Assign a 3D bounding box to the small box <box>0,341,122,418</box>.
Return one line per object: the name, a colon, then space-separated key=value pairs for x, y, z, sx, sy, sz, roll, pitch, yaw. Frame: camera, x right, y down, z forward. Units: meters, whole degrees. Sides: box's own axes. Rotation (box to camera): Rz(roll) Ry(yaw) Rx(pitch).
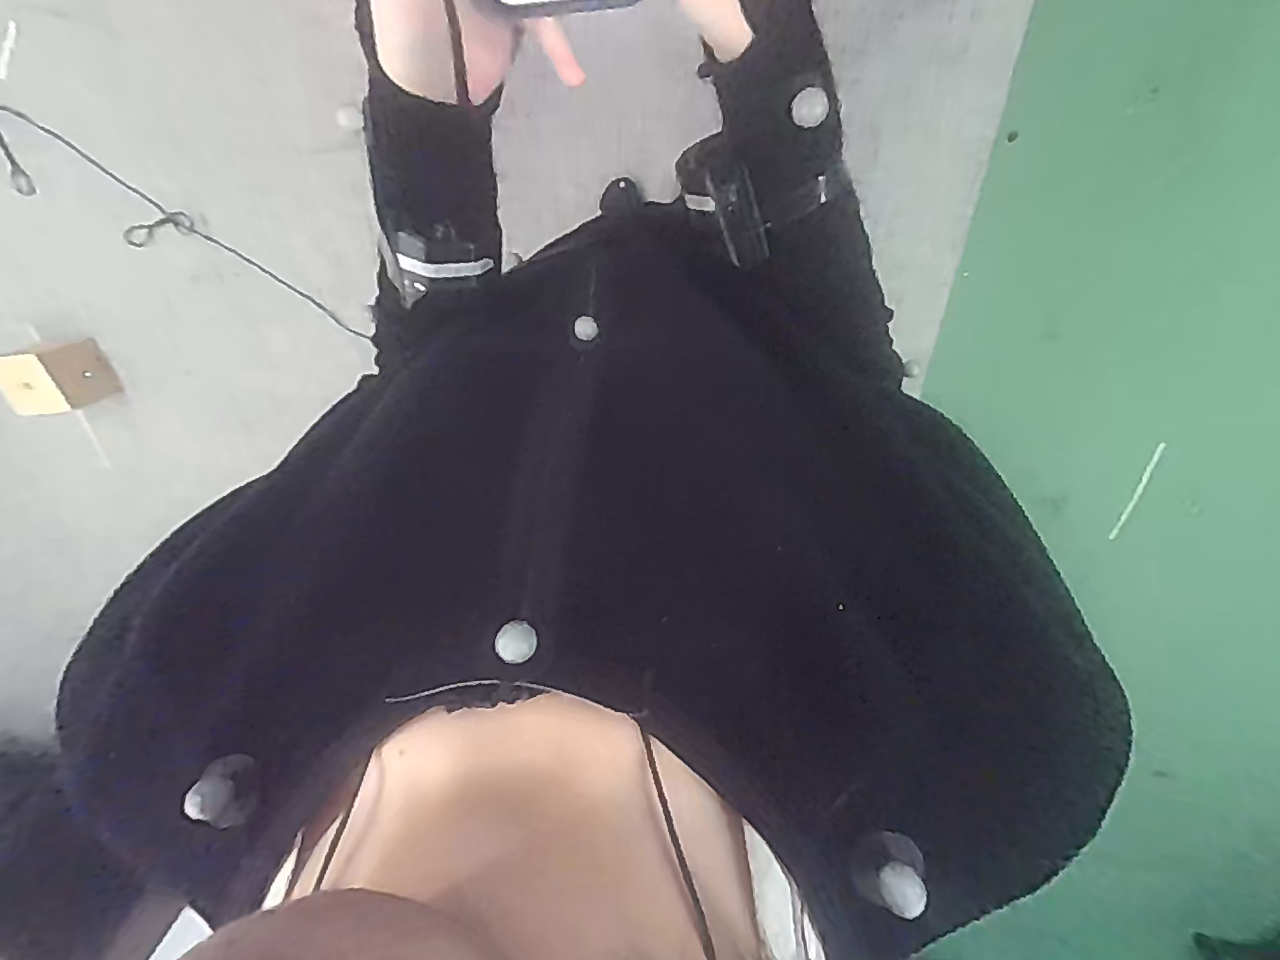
small box: x=-1.644 y=-0.289 z=1.538 sx=0.179 sy=0.176 sz=0.168 roll=-3 pitch=119 yaw=8
